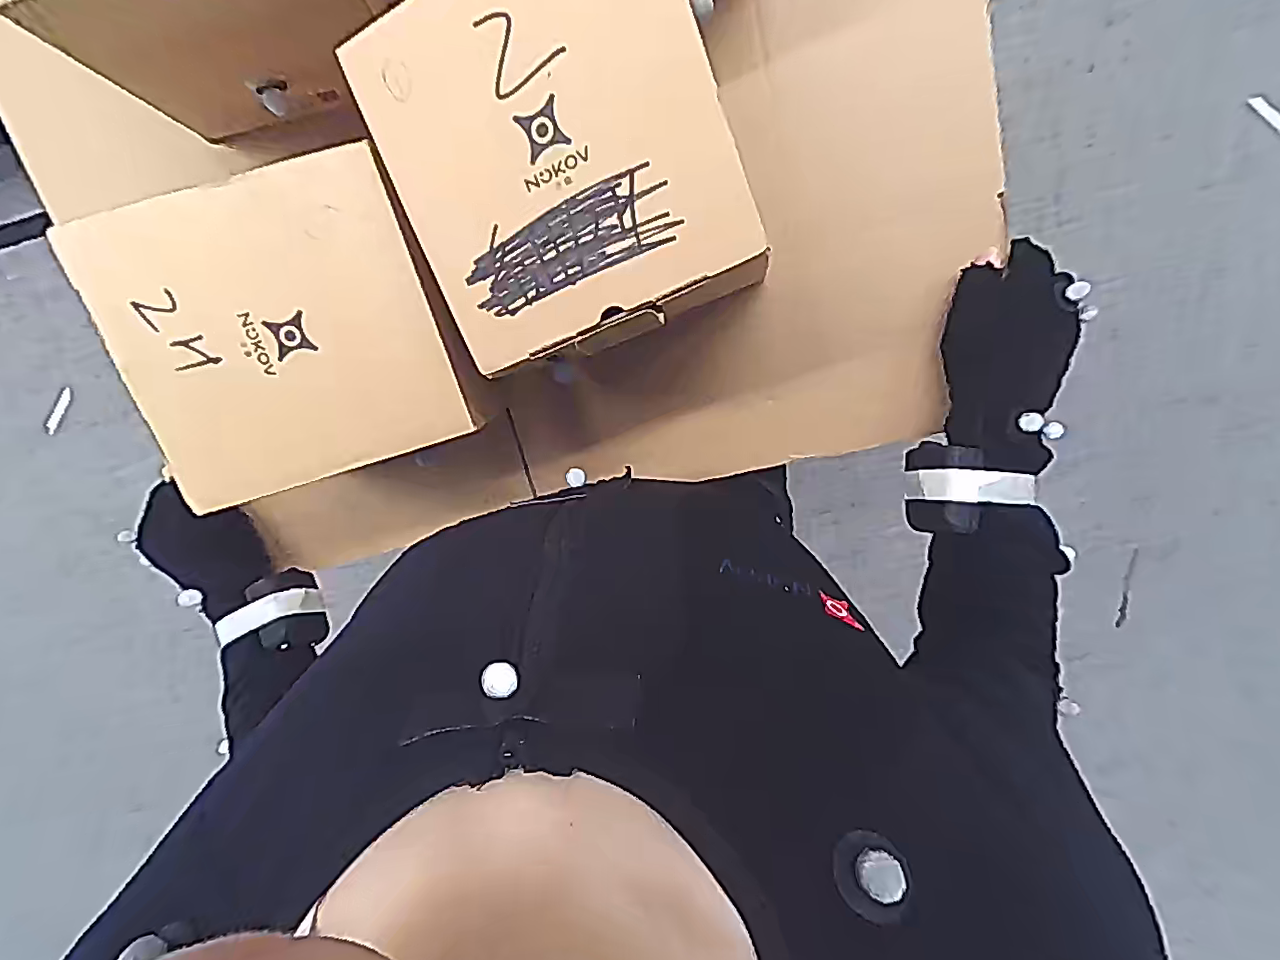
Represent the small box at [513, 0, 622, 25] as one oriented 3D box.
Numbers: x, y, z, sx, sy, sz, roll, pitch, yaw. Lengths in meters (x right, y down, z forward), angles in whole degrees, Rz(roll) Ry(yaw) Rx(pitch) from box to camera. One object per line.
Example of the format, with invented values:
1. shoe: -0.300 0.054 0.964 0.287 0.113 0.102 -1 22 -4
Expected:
1. small box: -0.033 -0.390 0.283 0.168 0.176 0.179 -12 103 15
